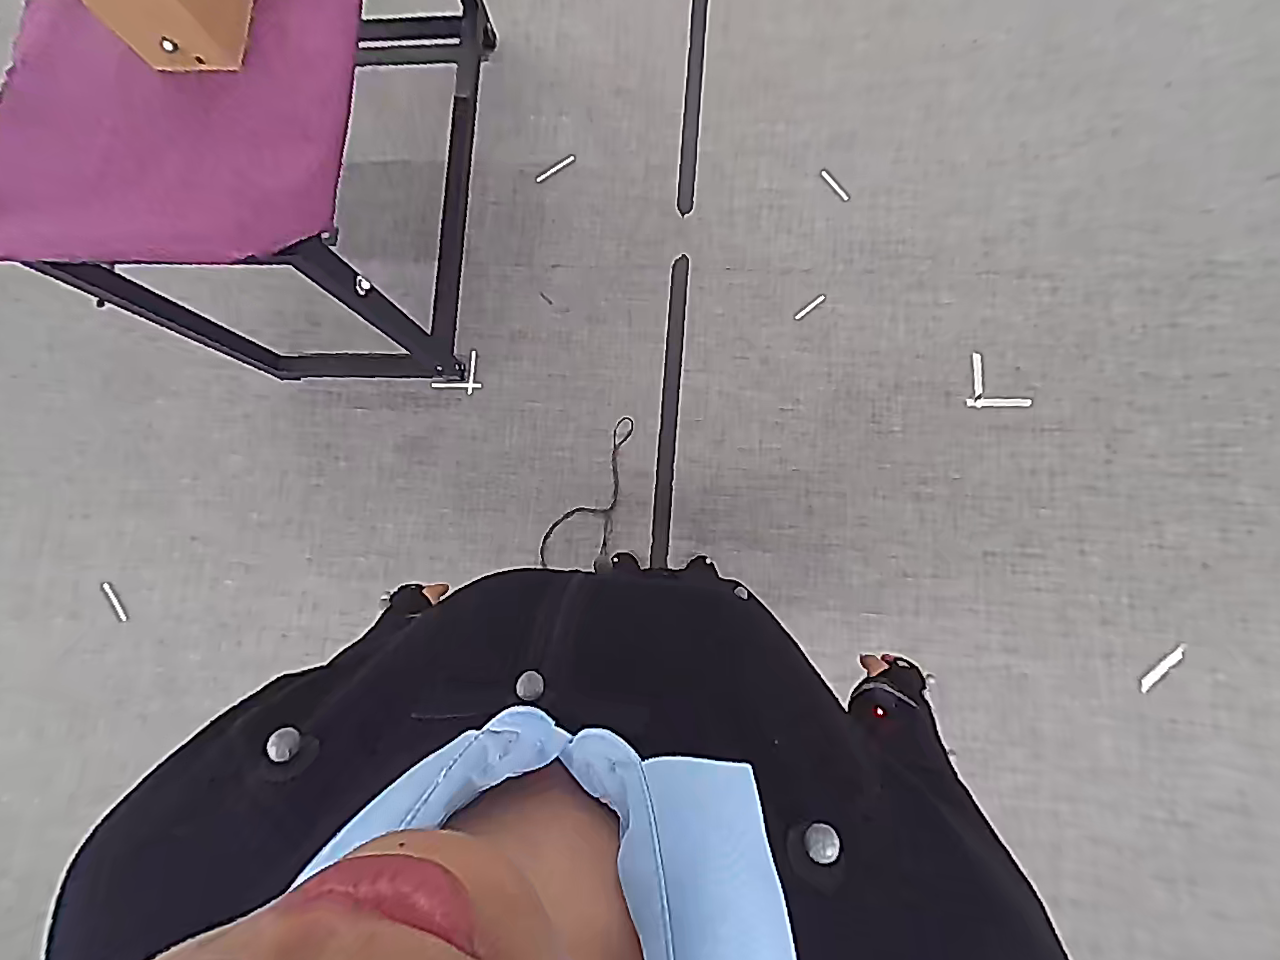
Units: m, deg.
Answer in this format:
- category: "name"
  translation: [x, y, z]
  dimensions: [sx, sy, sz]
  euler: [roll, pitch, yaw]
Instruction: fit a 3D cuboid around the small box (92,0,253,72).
- category: "small box"
  translation: [-0.784, -0.824, 0.892]
  dimensions: [0.168, 0.176, 0.179]
  euler: [4, 82, 5]
